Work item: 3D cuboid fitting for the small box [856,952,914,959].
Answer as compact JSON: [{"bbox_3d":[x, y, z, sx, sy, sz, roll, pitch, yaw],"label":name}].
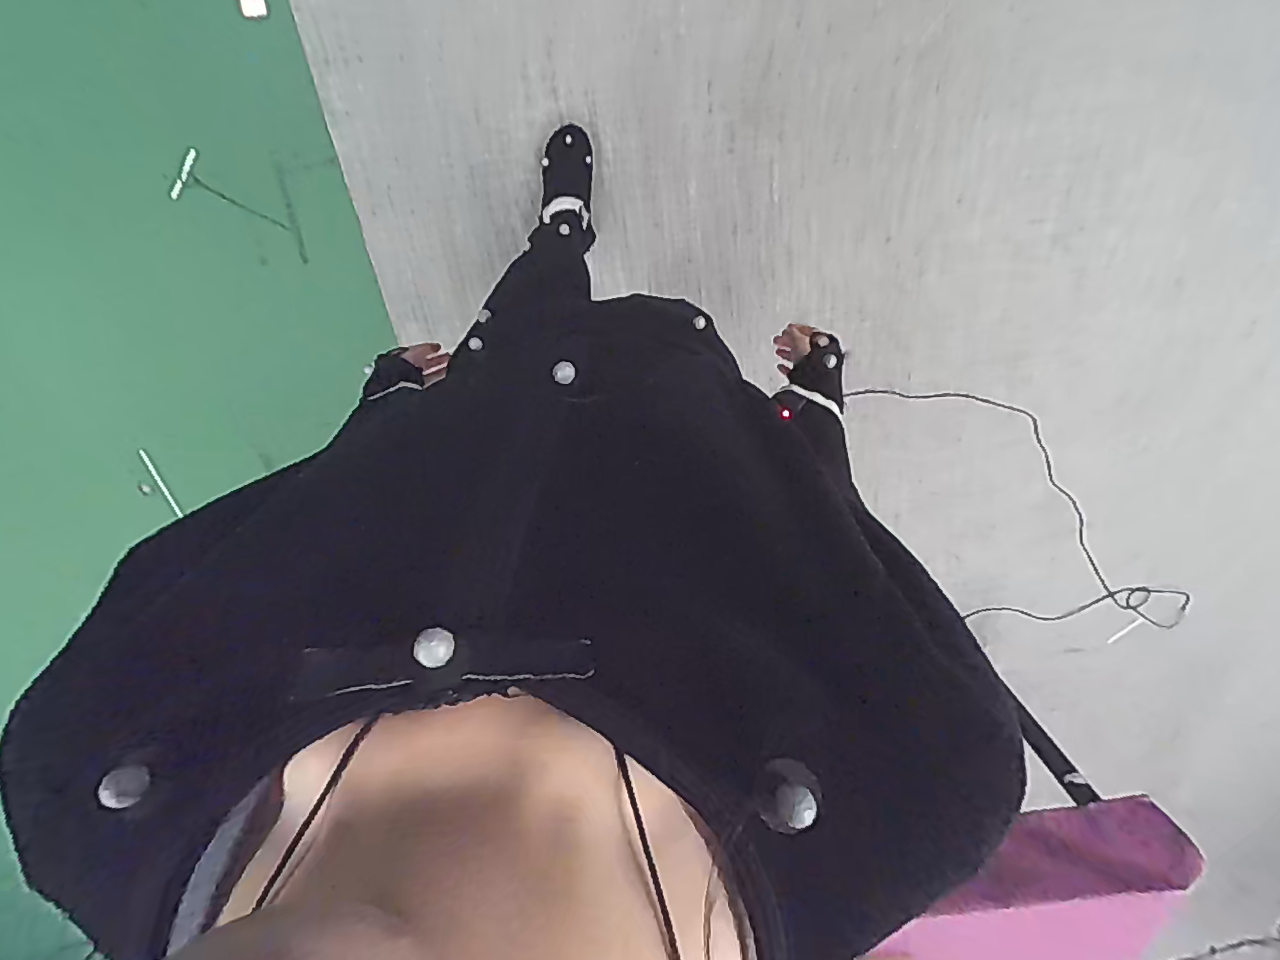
[{"bbox_3d":[0.653,1.378,1.413,0.179,0.176,0.168,-6,118,0],"label":"small box"}]
